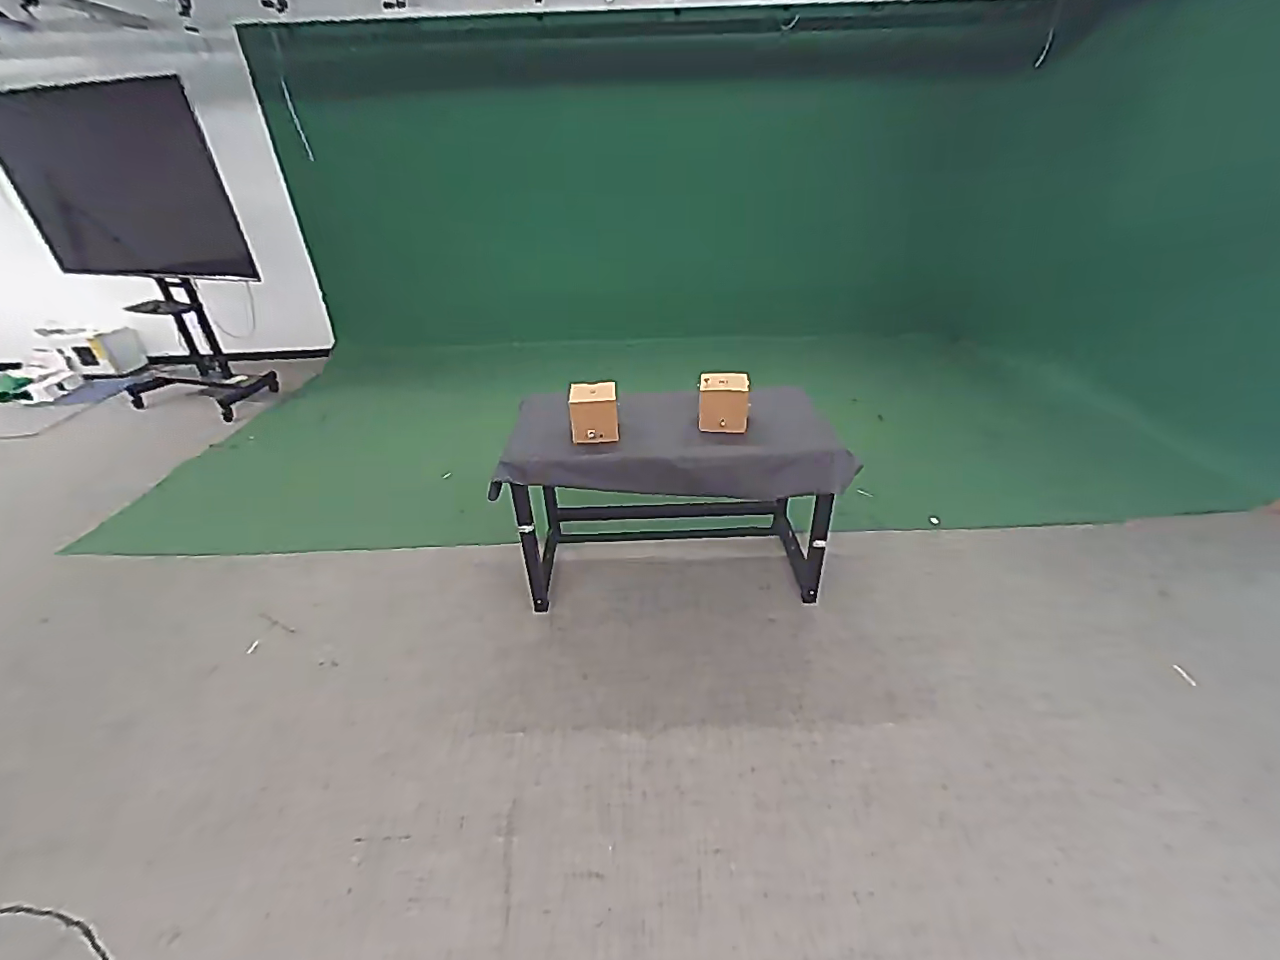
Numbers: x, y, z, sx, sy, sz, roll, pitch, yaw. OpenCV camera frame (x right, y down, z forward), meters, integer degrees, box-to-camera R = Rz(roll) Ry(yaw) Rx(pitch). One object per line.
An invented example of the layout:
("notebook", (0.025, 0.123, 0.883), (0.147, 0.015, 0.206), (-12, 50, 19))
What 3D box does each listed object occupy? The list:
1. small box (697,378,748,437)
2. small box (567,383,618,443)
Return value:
("small box", (0.310, -0.271, 2.036), (0.179, 0.176, 0.168), (3, 31, 7))
("small box", (-0.170, -0.247, 1.993), (0.168, 0.176, 0.179), (-4, 31, 1))
